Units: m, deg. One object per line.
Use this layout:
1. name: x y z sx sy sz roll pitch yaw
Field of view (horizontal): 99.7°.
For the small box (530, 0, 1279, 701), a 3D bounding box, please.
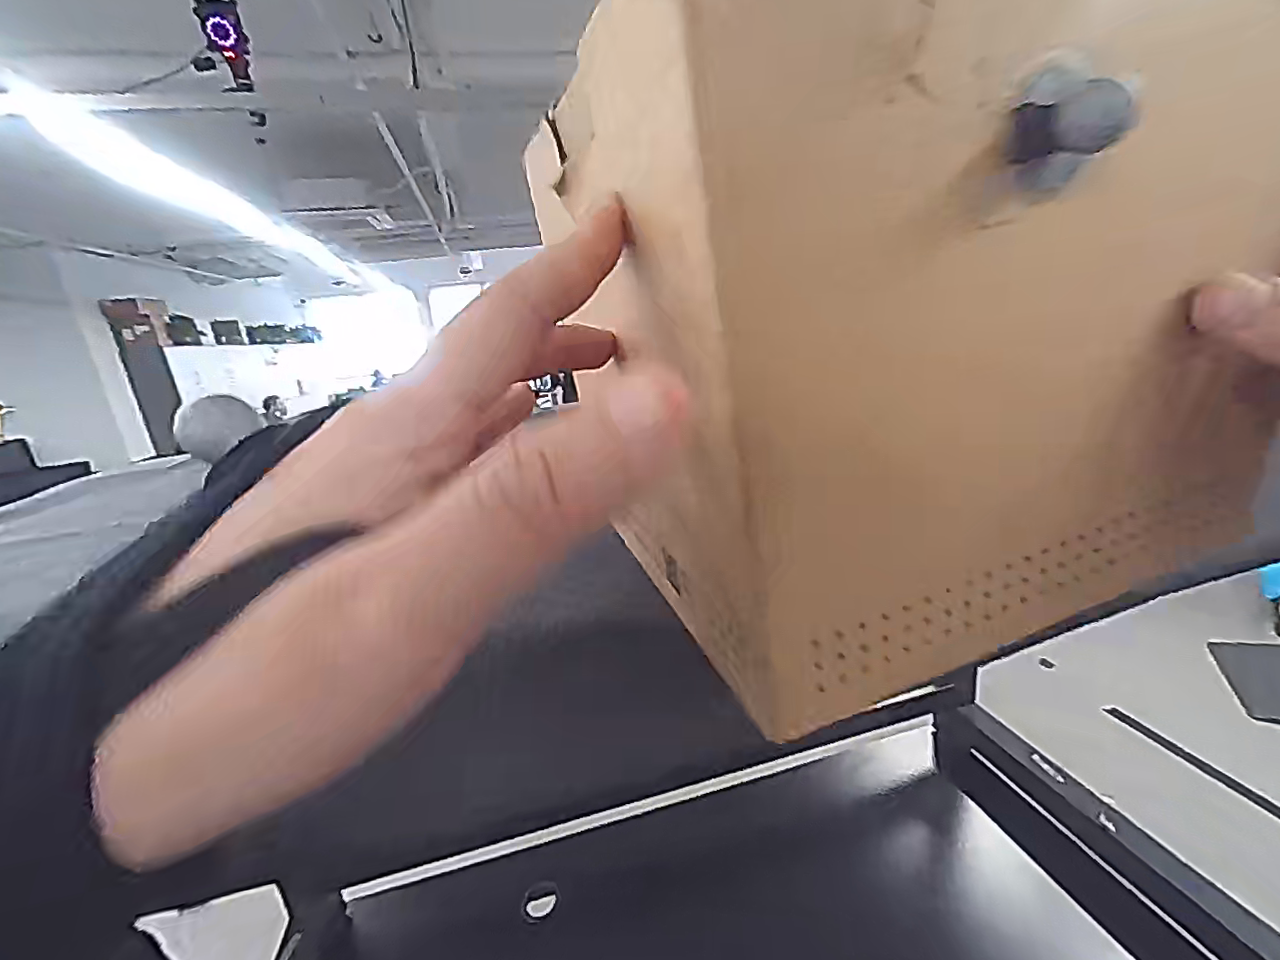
1. small box: 0.074 -0.056 0.196 0.179 0.176 0.168 -16 22 -13
